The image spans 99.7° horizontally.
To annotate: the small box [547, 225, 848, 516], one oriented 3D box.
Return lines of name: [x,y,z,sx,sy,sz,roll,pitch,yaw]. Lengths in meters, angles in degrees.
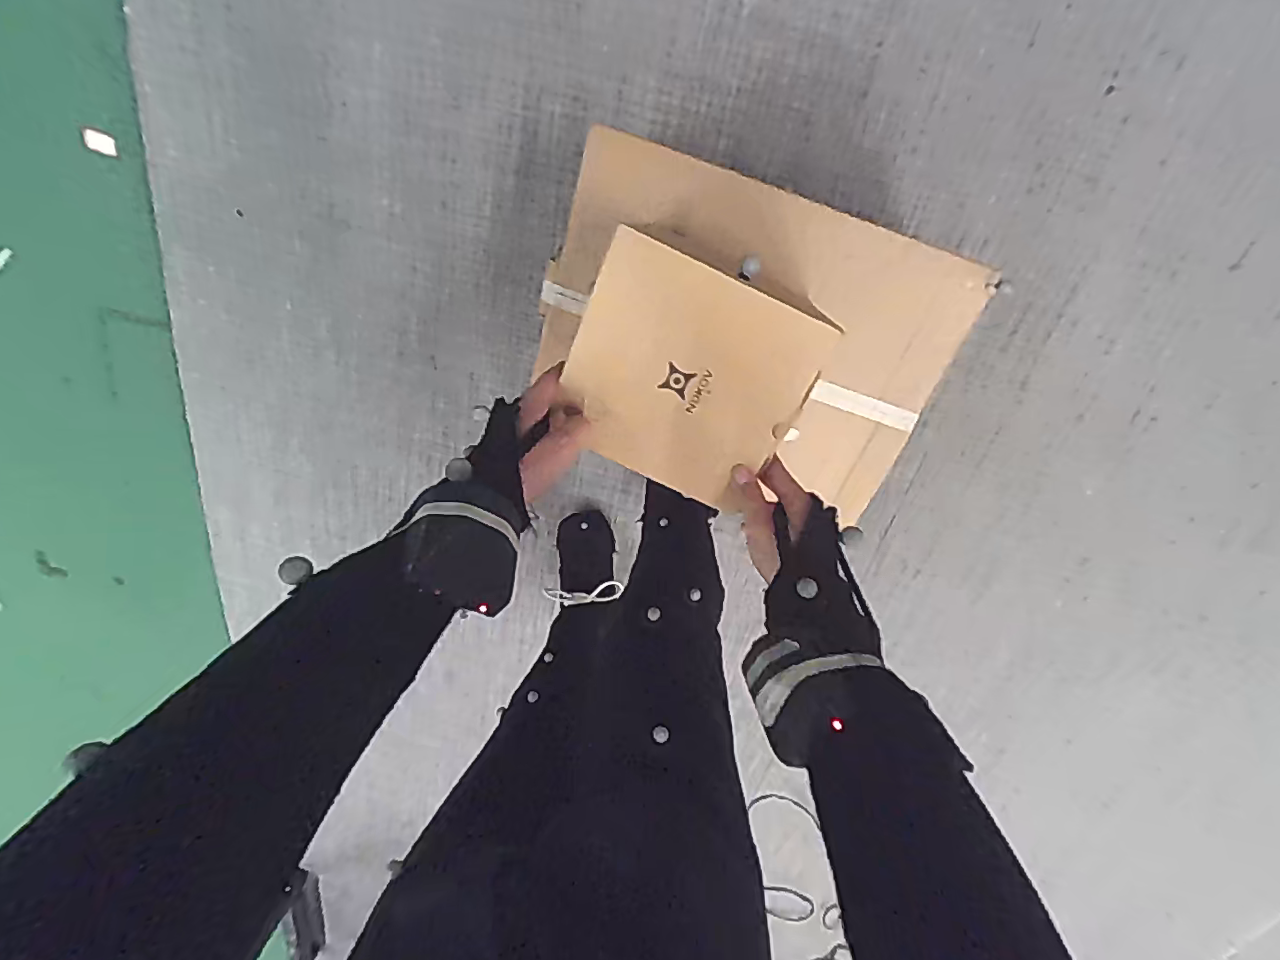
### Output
small box: [0.045,-0.102,0.476,0.179,0.176,0.168,24,115,-5]

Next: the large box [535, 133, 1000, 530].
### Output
large box: [0.123,-0.193,0.699,0.408,0.320,0.320,19,117,-1]
